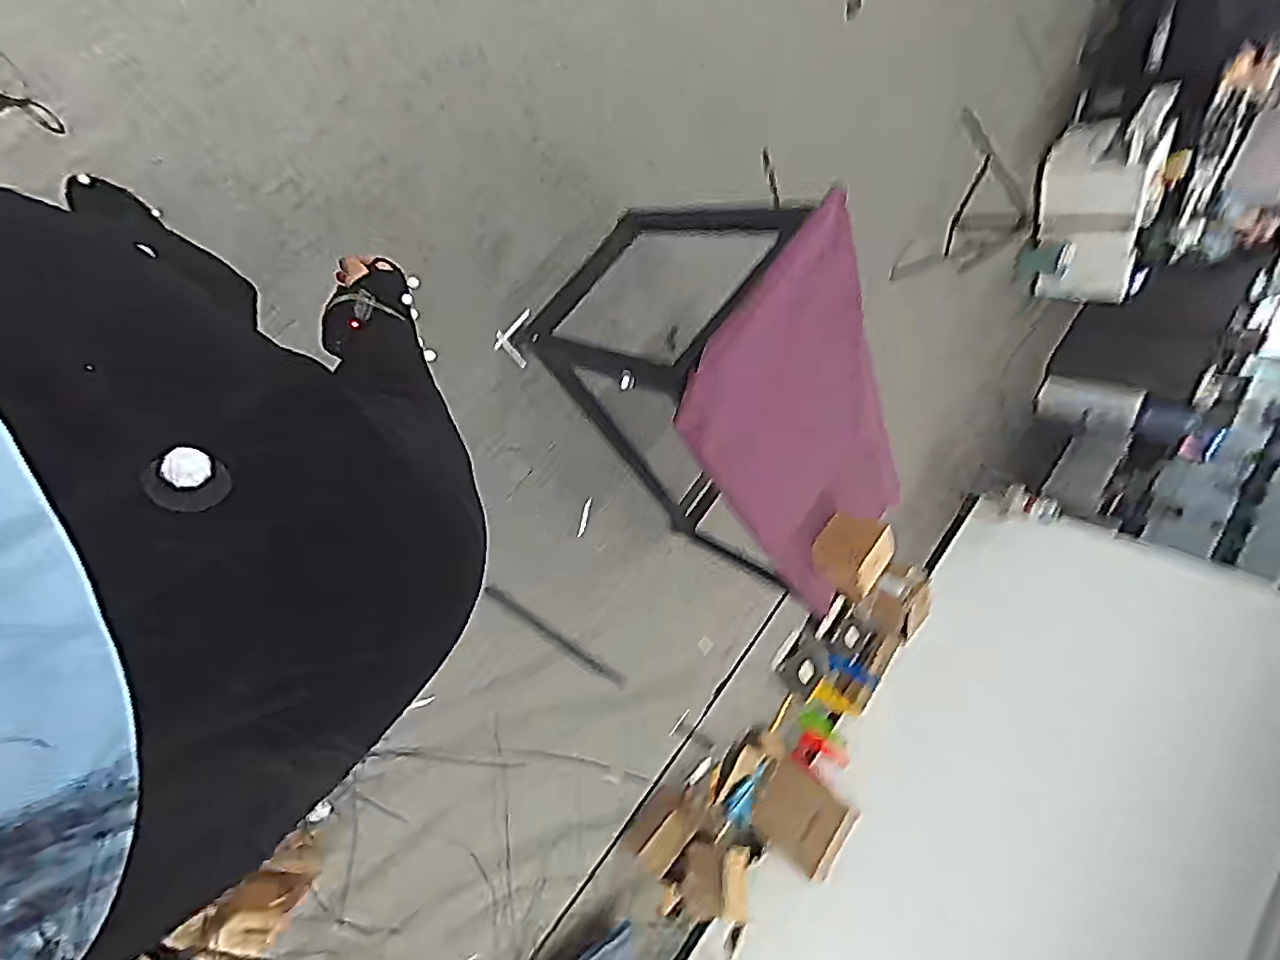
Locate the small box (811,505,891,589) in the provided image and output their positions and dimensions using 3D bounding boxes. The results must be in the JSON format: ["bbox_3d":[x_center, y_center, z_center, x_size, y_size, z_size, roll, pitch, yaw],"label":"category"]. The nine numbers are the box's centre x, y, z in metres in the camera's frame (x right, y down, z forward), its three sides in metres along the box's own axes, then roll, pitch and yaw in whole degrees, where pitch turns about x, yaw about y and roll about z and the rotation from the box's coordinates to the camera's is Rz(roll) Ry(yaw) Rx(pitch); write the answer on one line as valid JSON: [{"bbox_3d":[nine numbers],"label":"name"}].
[{"bbox_3d":[0.677,0.208,1.733,0.179,0.176,0.168,-49,134,-16],"label":"small box"}]

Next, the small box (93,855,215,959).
[{"bbox_3d":[-1.225,1.087,1.360,0.179,0.176,0.168,-52,135,-12],"label":"small box"}]
